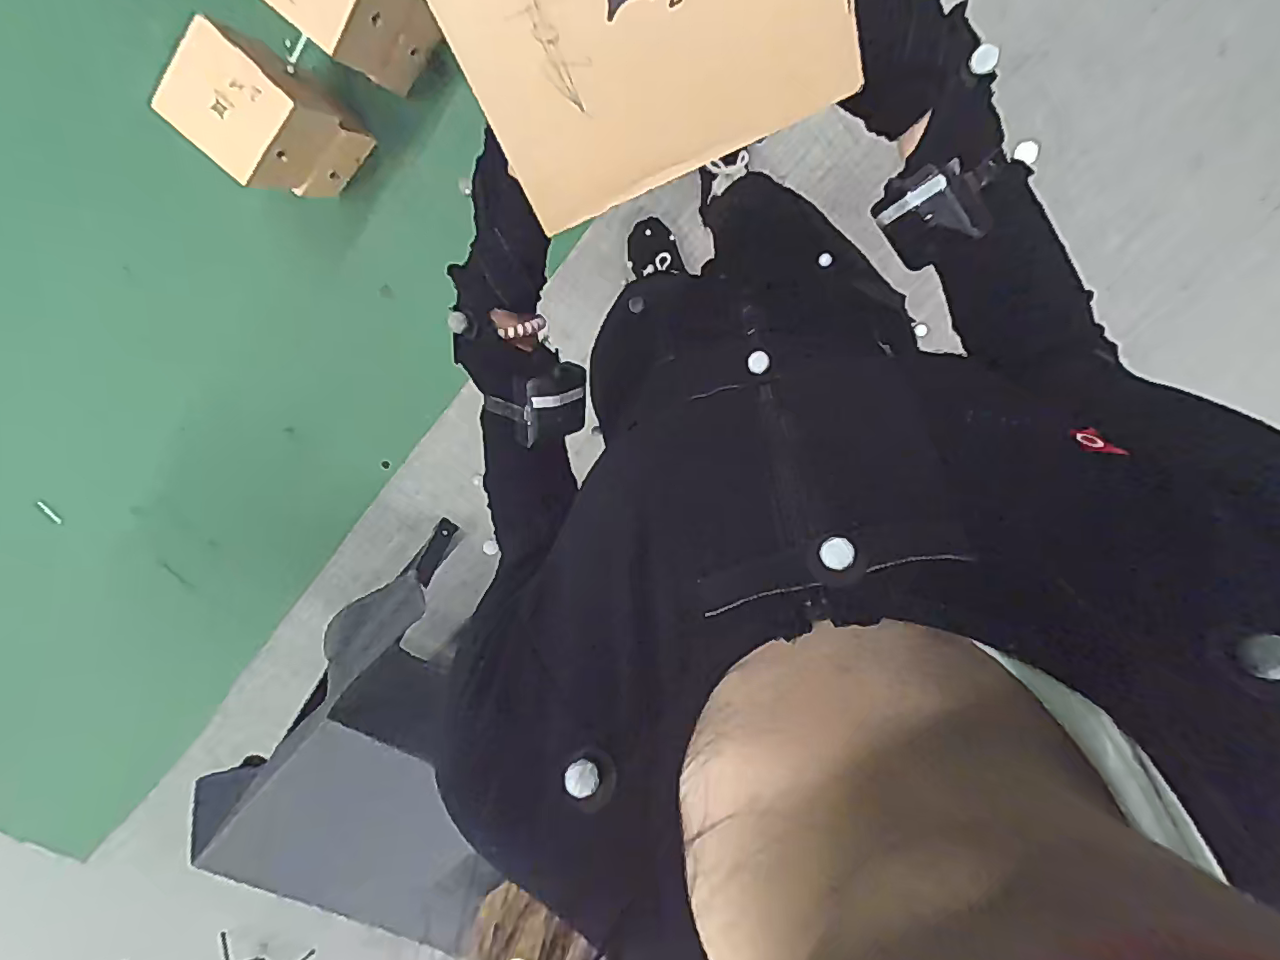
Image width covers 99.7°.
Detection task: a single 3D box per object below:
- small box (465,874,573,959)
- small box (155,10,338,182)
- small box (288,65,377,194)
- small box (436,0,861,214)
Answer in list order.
[{"bbox_3d":[-0.259,1.005,1.171,0.168,0.176,0.179,39,109,-19],"label":"small box"},{"bbox_3d":[-0.678,-0.657,0.955,0.179,0.176,0.168,-40,111,17],"label":"small box"},{"bbox_3d":[-0.682,-0.719,1.108,0.168,0.176,0.179,-40,111,17],"label":"small box"},{"bbox_3d":[-0.005,-0.279,0.290,0.179,0.176,0.168,-17,126,15],"label":"small box"}]
